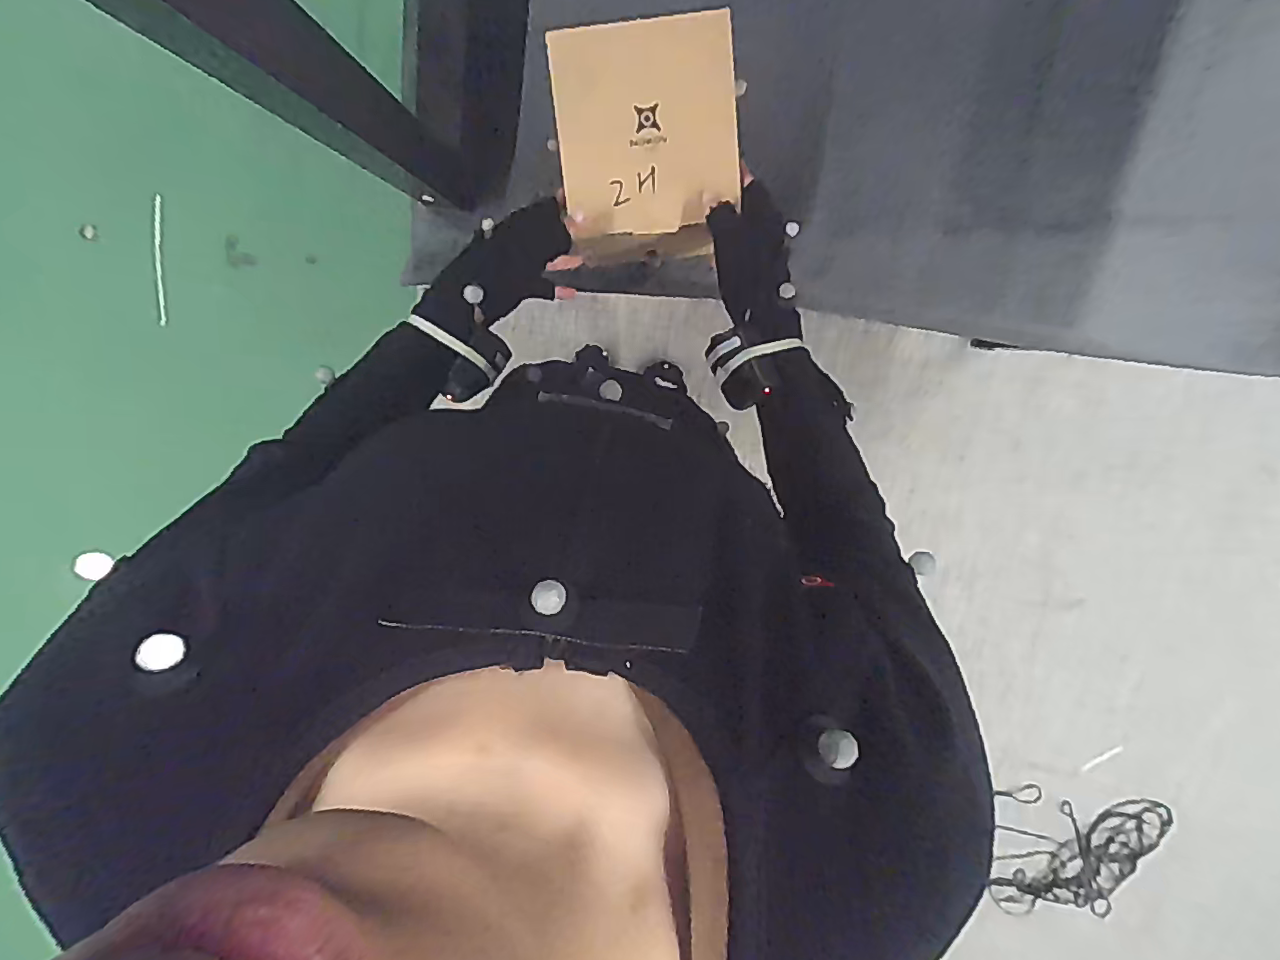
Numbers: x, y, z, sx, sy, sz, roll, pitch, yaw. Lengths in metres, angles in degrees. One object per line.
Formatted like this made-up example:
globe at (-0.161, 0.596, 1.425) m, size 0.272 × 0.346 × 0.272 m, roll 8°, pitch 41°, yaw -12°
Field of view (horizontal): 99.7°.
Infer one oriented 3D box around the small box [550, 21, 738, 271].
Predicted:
small box at (0.006, -0.335, 0.578) m, size 0.168 × 0.176 × 0.179 m, roll -5°, pitch 103°, yaw 2°
